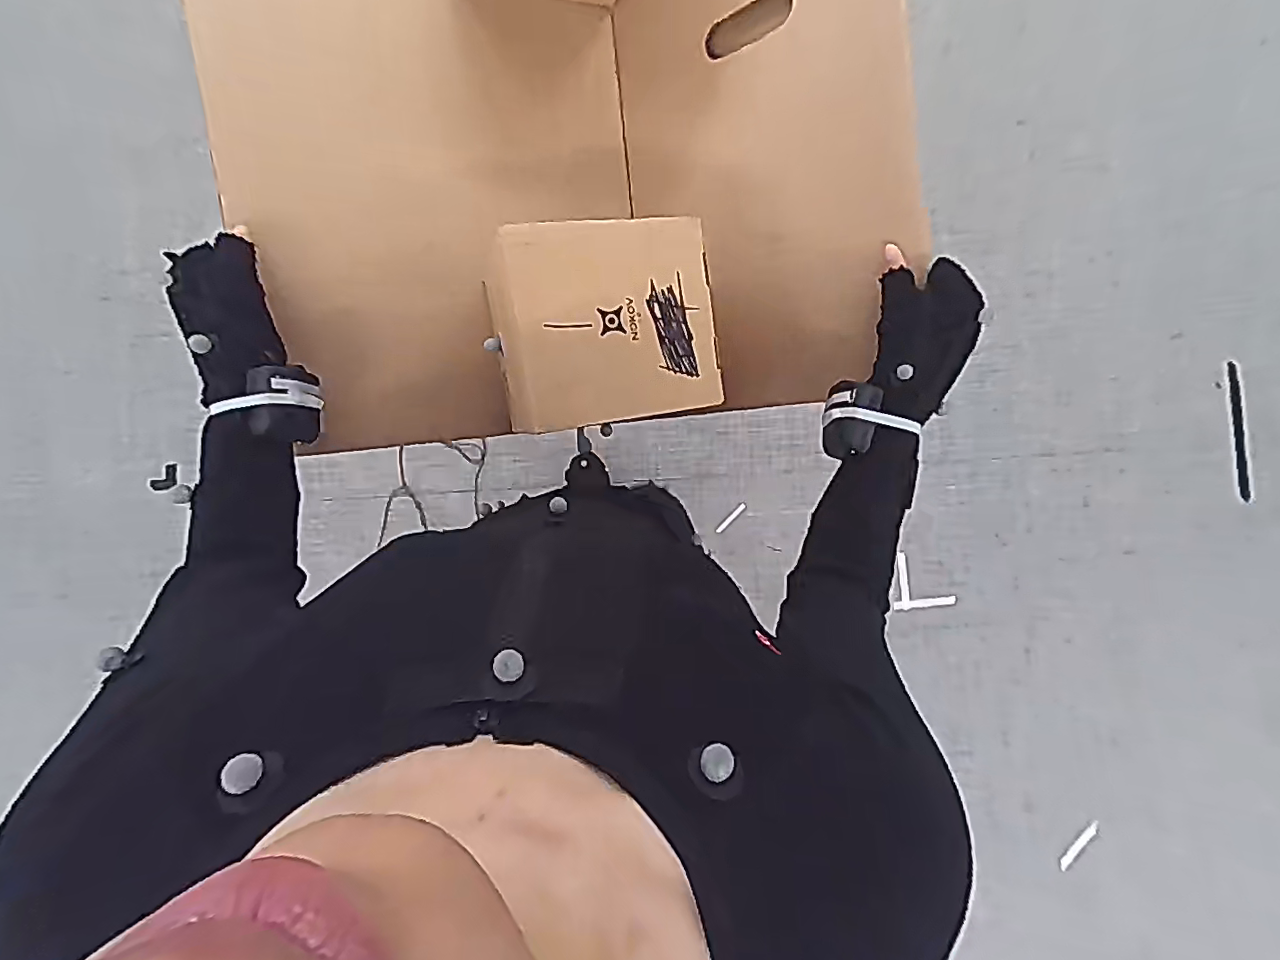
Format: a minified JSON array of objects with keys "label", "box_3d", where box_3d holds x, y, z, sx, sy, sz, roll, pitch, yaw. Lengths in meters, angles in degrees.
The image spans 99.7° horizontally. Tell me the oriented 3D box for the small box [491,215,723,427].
[{"label":"small box","box_3d":[-0.041,-0.147,0.535,0.179,0.176,0.168,-11,99,-18]}]
